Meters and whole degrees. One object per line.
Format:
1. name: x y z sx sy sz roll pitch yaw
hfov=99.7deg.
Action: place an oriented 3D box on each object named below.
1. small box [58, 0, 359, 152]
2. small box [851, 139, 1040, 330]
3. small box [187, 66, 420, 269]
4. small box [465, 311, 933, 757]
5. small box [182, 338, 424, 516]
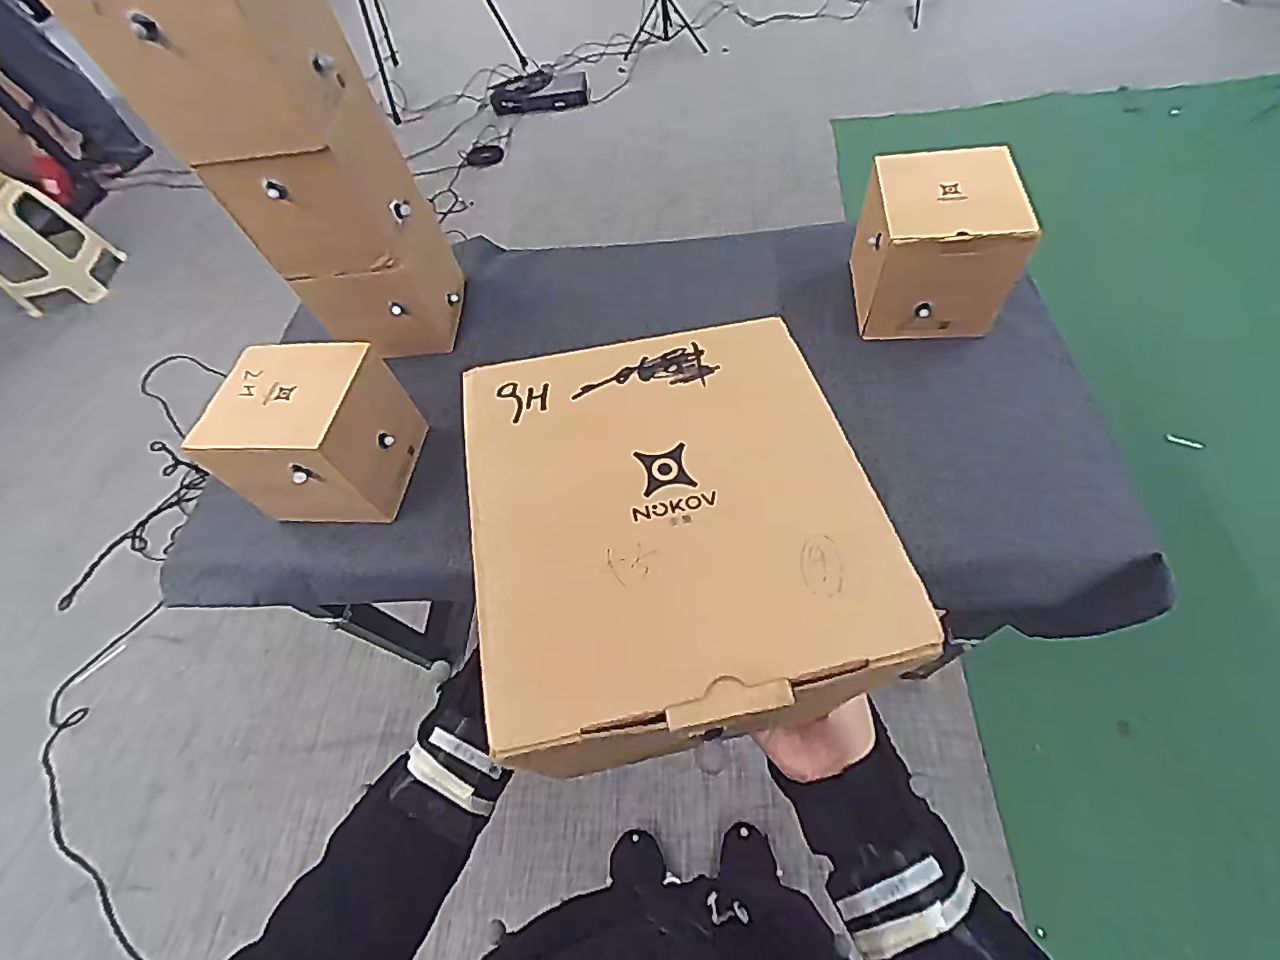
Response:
1. small box: -0.438 -0.473 0.566 0.179 0.176 0.168 -2 62 5
2. small box: 0.396 -0.328 0.739 0.168 0.176 0.179 1 62 9
3. small box: -0.422 -0.401 0.713 0.179 0.176 0.168 -4 62 4
4. small box: 0.014 0.041 0.299 0.168 0.176 0.179 -11 61 -5
5. small box: -0.411 -0.064 0.700 0.179 0.176 0.168 0 57 8
